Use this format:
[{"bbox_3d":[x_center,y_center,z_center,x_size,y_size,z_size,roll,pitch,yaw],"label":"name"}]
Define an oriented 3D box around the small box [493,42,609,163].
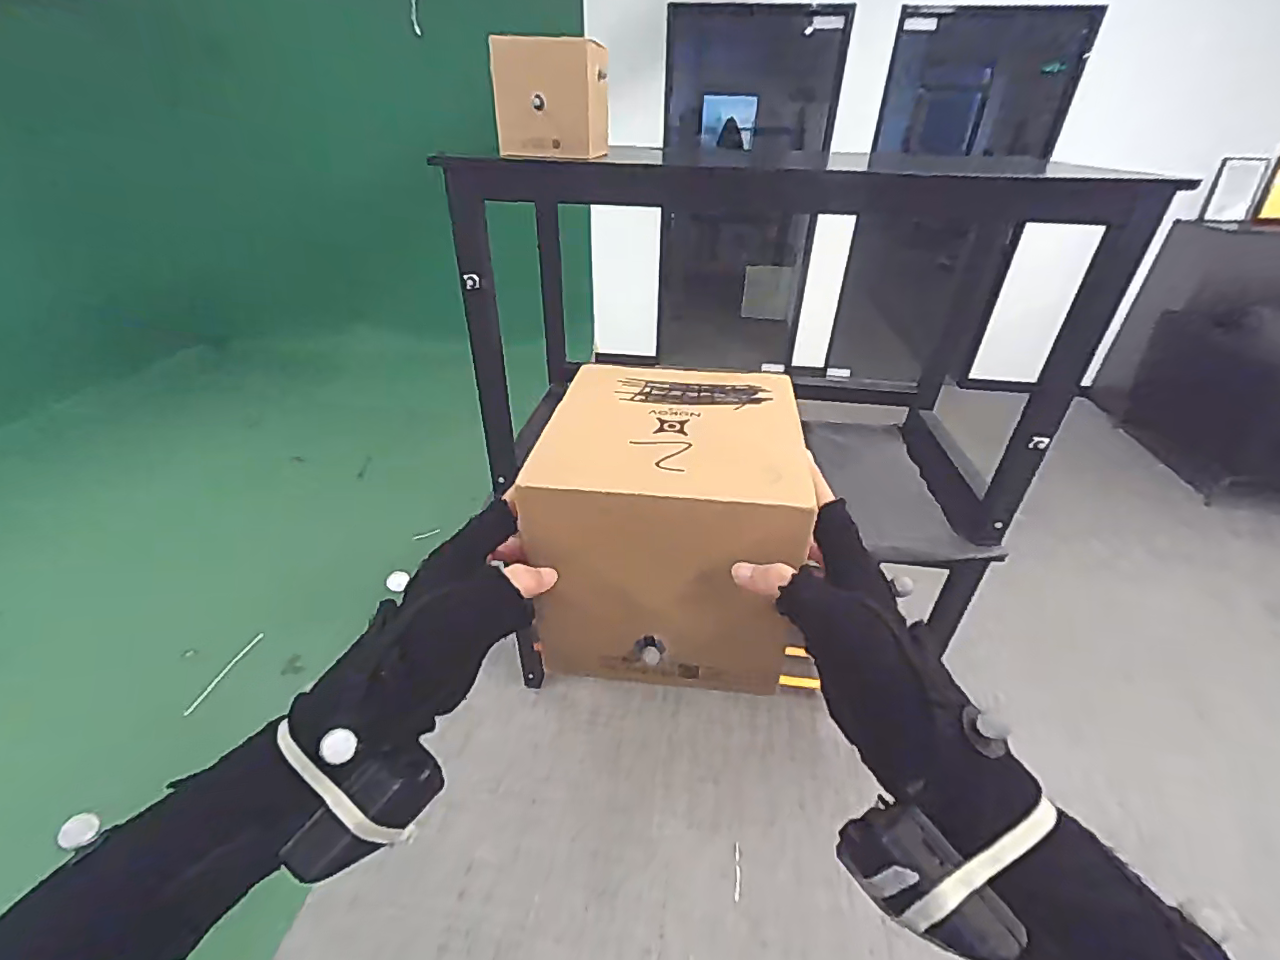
[{"bbox_3d":[-0.149,-0.679,0.982,0.168,0.176,0.179,6,33,6],"label":"small box"}]
